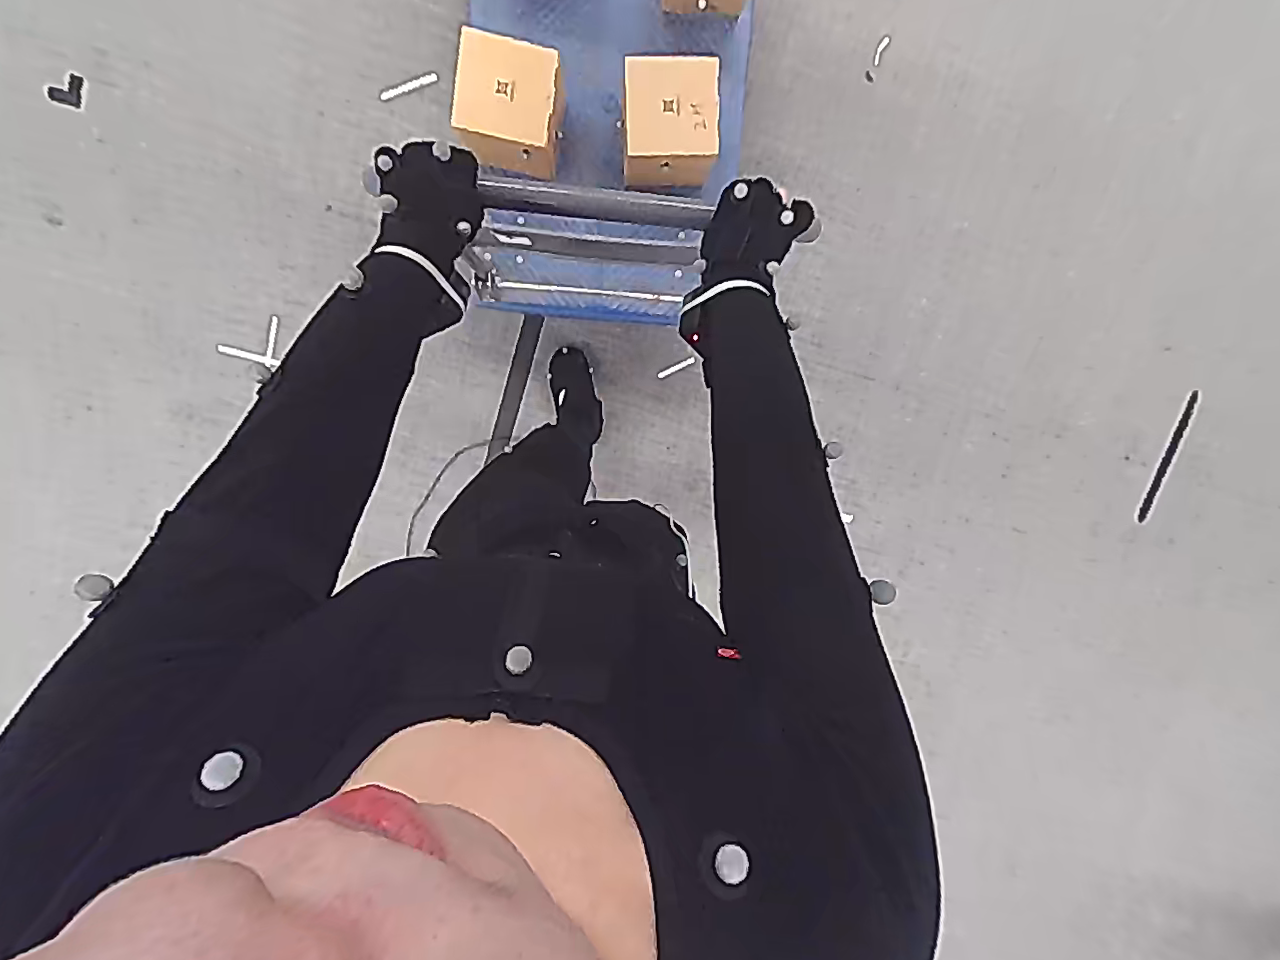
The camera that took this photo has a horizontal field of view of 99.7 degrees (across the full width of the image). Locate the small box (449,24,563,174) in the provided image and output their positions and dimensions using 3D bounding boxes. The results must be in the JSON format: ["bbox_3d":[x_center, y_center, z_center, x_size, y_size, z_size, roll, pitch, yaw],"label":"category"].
[{"bbox_3d":[-0.251,-0.719,1.044,0.179,0.176,0.168,9,100,-7],"label":"small box"}]

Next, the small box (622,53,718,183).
[{"bbox_3d":[0.052,-0.702,1.067,0.179,0.176,0.168,-2,102,-3],"label":"small box"}]

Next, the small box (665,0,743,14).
[{"bbox_3d":[0.131,-1.026,1.006,0.168,0.176,0.179,1,102,-4],"label":"small box"}]
